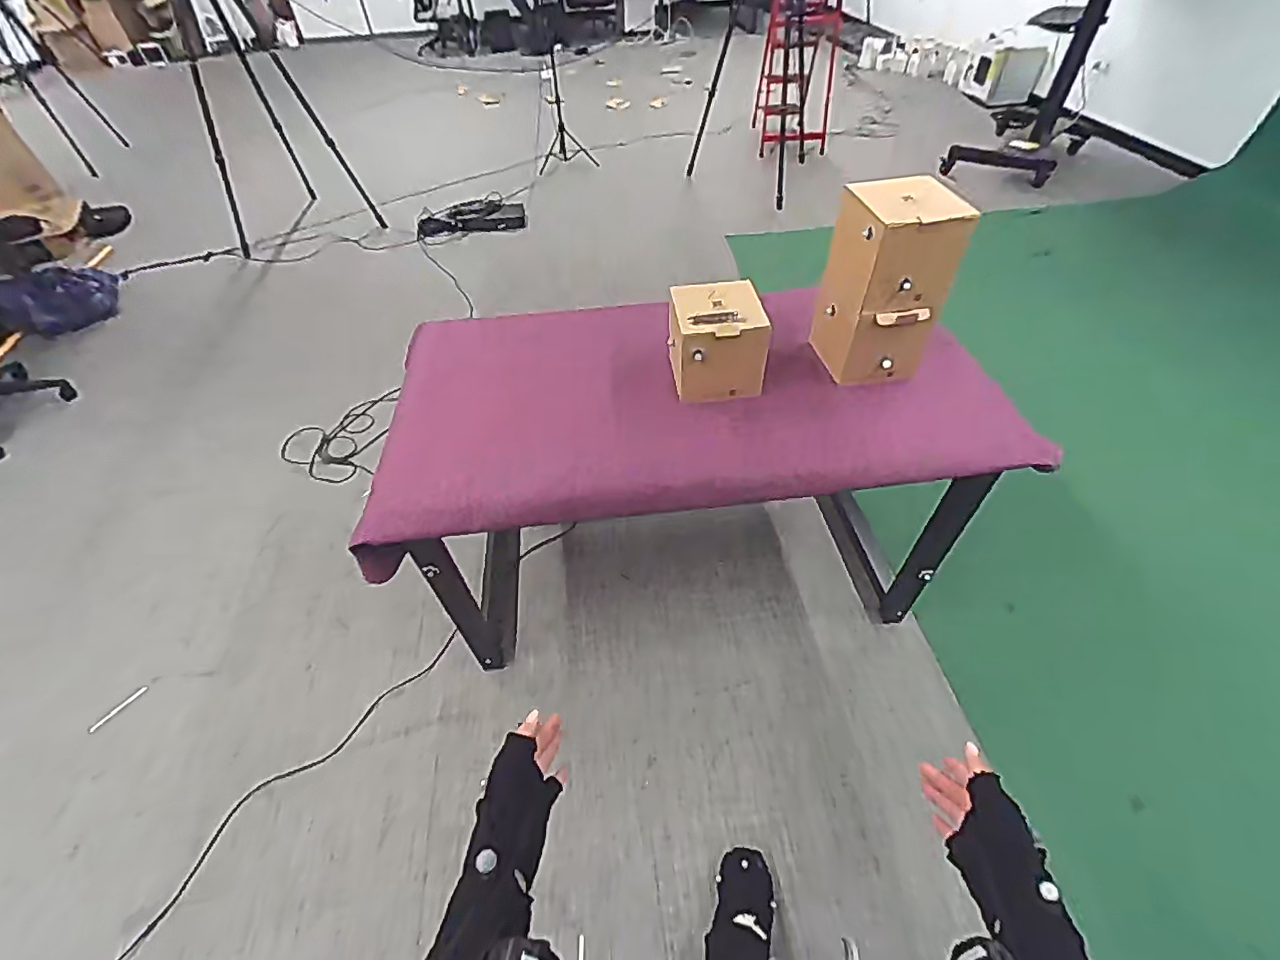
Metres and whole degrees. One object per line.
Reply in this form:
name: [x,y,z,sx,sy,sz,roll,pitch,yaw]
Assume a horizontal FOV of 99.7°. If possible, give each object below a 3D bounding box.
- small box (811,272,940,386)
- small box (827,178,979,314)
small box: [0.469,-0.316,1.110,0.168,0.176,0.179,-9,49,-4]
small box: [0.464,-0.428,0.991,0.168,0.176,0.179,-8,50,-4]
